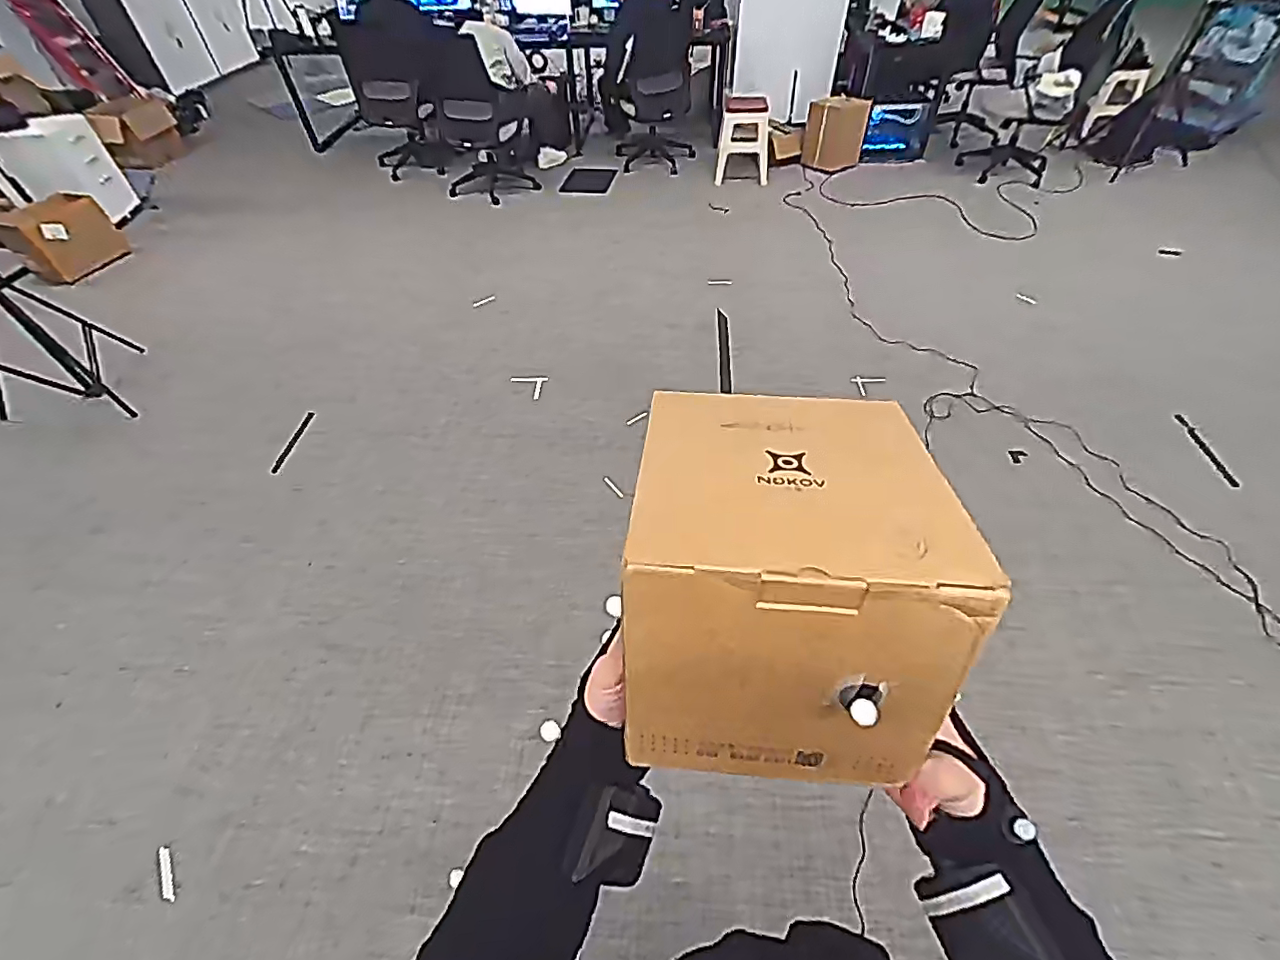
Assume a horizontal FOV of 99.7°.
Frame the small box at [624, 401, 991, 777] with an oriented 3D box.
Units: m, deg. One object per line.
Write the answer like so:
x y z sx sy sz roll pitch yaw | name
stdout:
0.082 0.064 0.355 0.168 0.176 0.179 4 34 4 | small box
